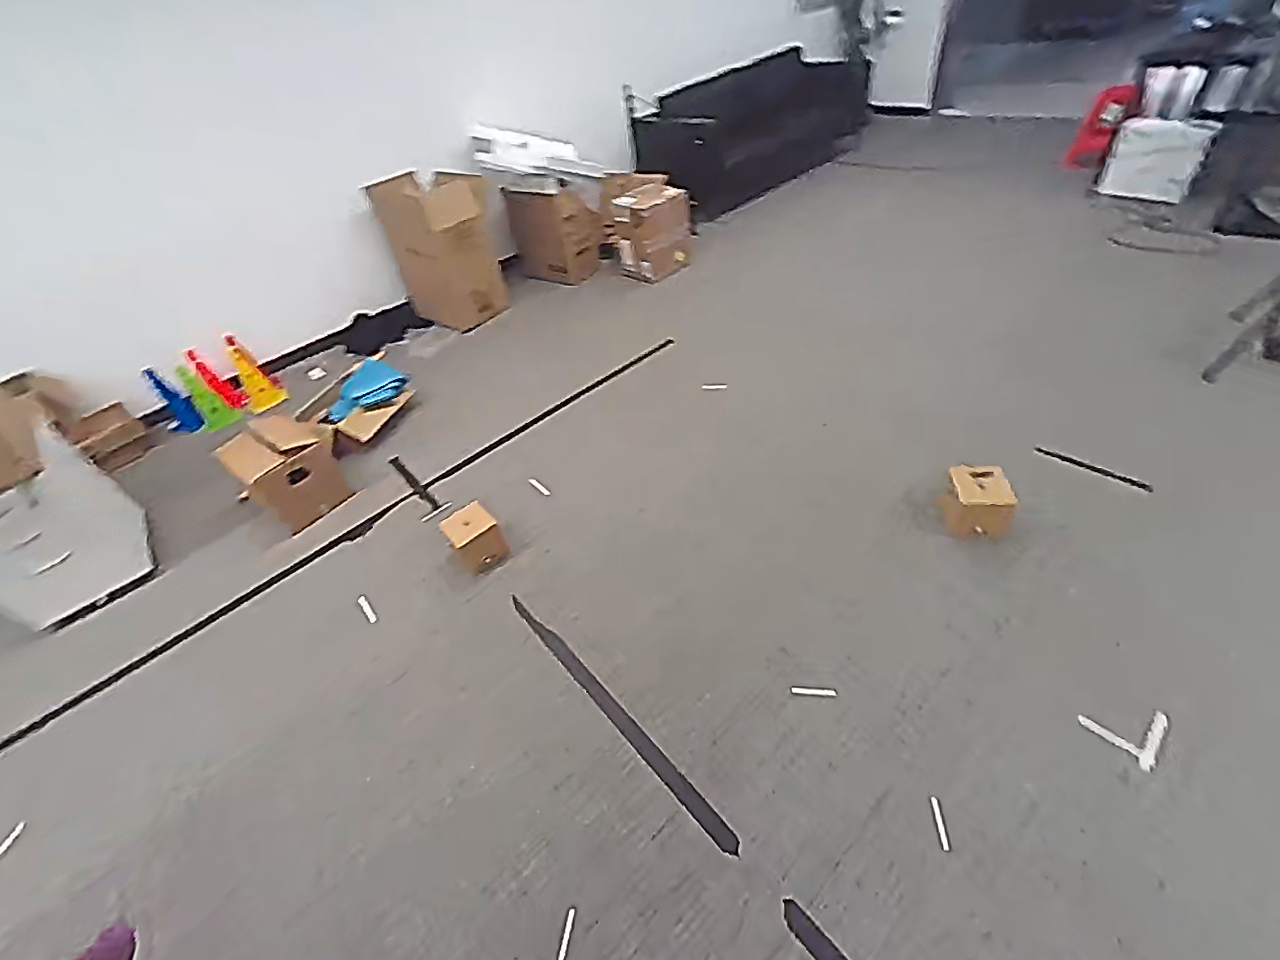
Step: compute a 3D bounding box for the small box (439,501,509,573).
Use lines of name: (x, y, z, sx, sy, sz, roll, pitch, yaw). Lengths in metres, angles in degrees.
small box: (-0.628, 0.219, 2.052, 0.168, 0.176, 0.179, -37, 49, -24)

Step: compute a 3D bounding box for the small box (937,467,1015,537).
small box: (1.136, 0.075, 1.845, 0.168, 0.176, 0.179, -1, 44, 12)
